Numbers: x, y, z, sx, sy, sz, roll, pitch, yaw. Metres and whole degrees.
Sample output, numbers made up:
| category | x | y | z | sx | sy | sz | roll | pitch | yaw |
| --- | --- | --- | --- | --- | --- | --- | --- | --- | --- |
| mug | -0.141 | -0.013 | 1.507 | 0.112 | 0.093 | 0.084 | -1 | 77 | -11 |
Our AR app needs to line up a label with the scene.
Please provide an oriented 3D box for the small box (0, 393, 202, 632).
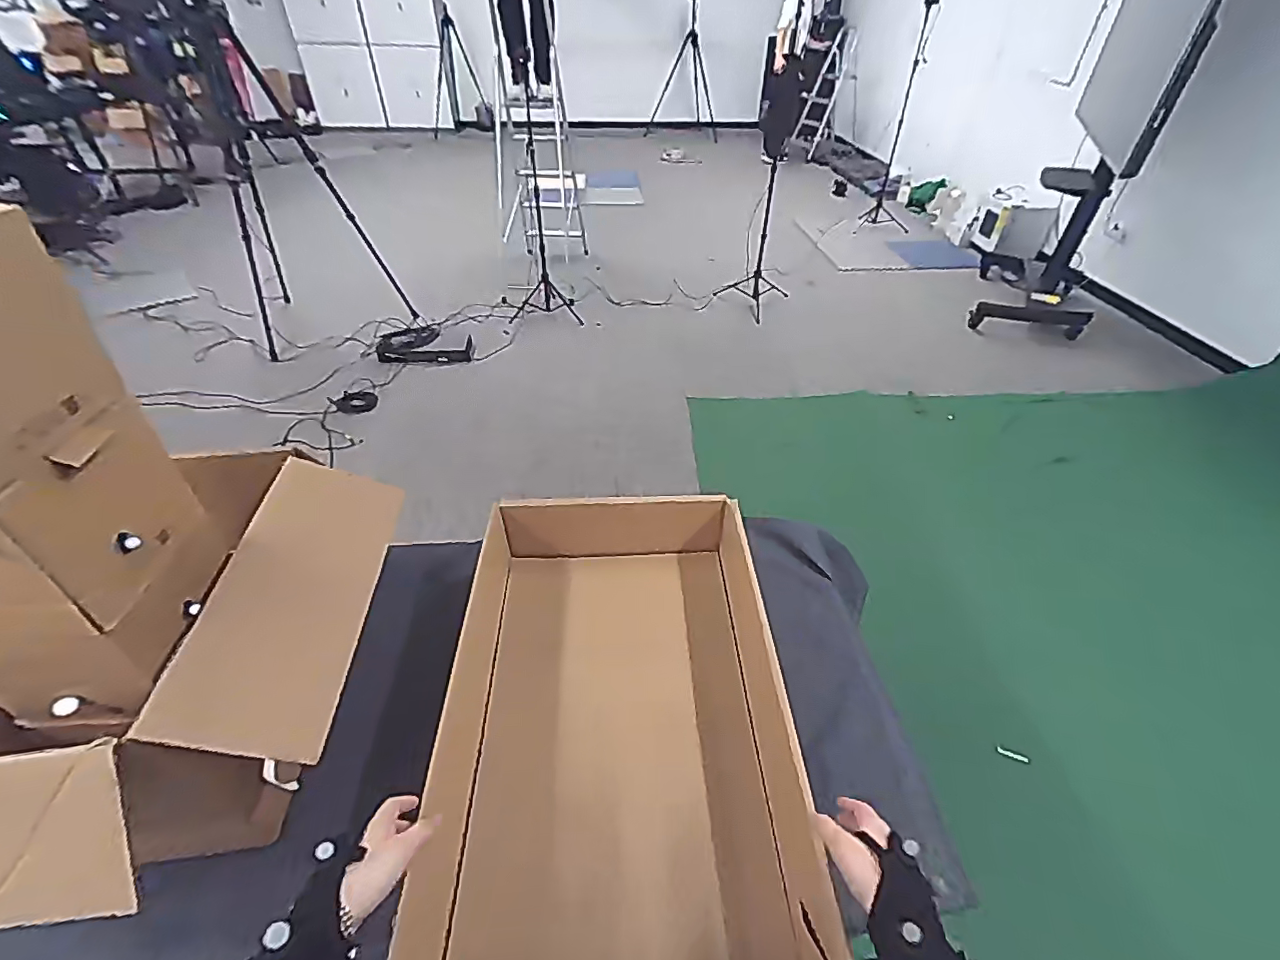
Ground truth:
| category | x | y | z | sx | sy | sz | roll | pitch | yaw |
| --- | --- | --- | --- | --- | --- | --- | --- | --- | --- |
| small box | -0.575 | 0.028 | 0.507 | 0.179 | 0.176 | 0.168 | 2 | 41 | -7 |

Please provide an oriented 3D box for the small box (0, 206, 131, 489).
| category | x | y | z | sx | sy | sz | roll | pitch | yaw |
| --- | --- | --- | --- | --- | --- | --- | --- | --- | --- |
| small box | -0.560 | -0.098 | 0.403 | 0.179 | 0.176 | 0.168 | 3 | 41 | -5 |
